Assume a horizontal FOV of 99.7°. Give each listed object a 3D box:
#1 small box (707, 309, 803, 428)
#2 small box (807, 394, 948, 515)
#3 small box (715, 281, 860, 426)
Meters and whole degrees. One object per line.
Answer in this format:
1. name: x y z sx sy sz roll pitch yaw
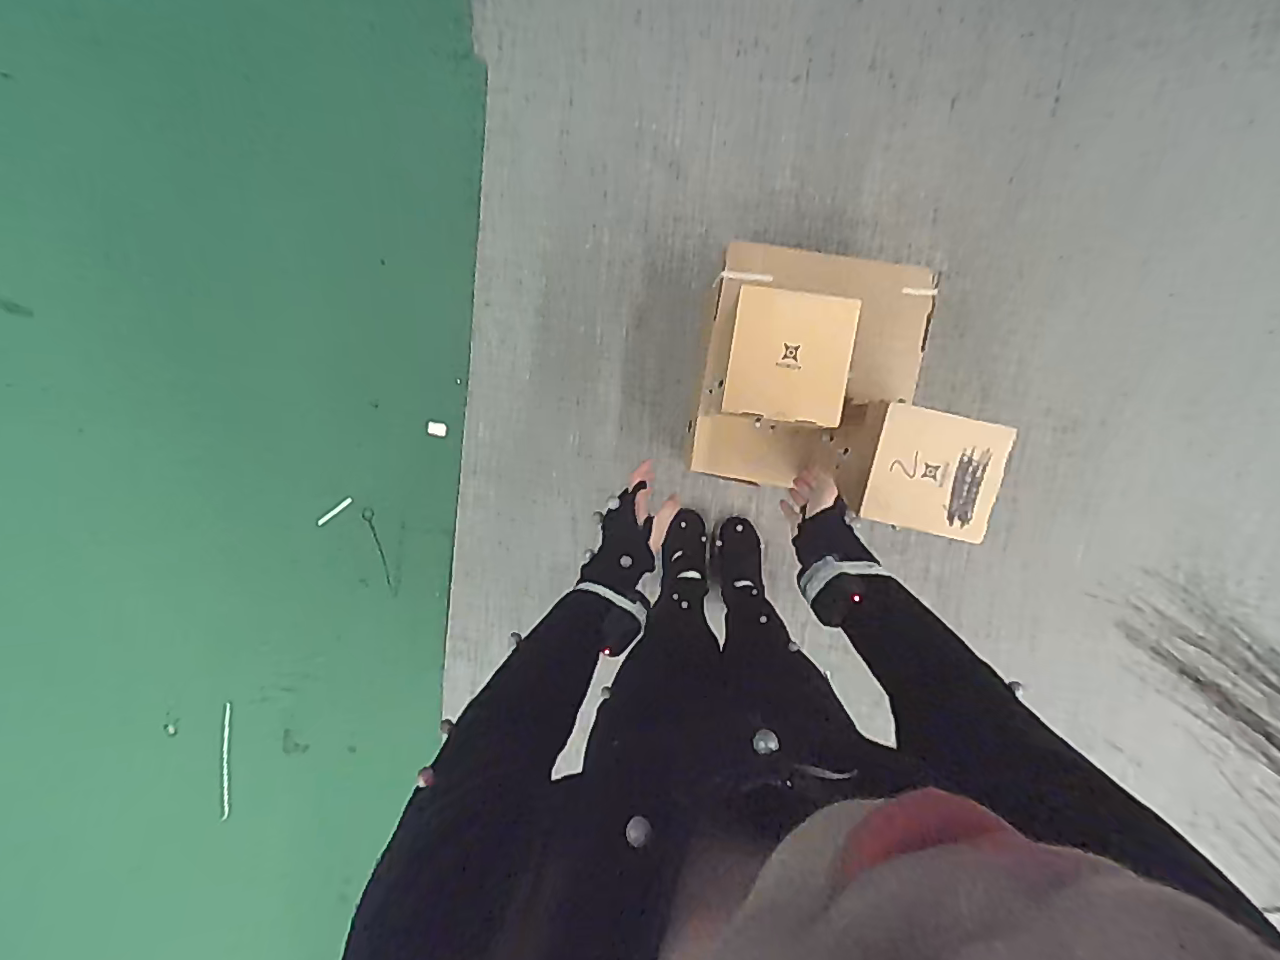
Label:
1. small box: 0.217 -0.192 0.979 0.168 0.176 0.179 10 95 3
2. small box: 0.414 -0.047 0.975 0.168 0.176 0.179 12 95 3
3. small box: 0.209 -0.180 0.817 0.168 0.176 0.179 9 96 4
